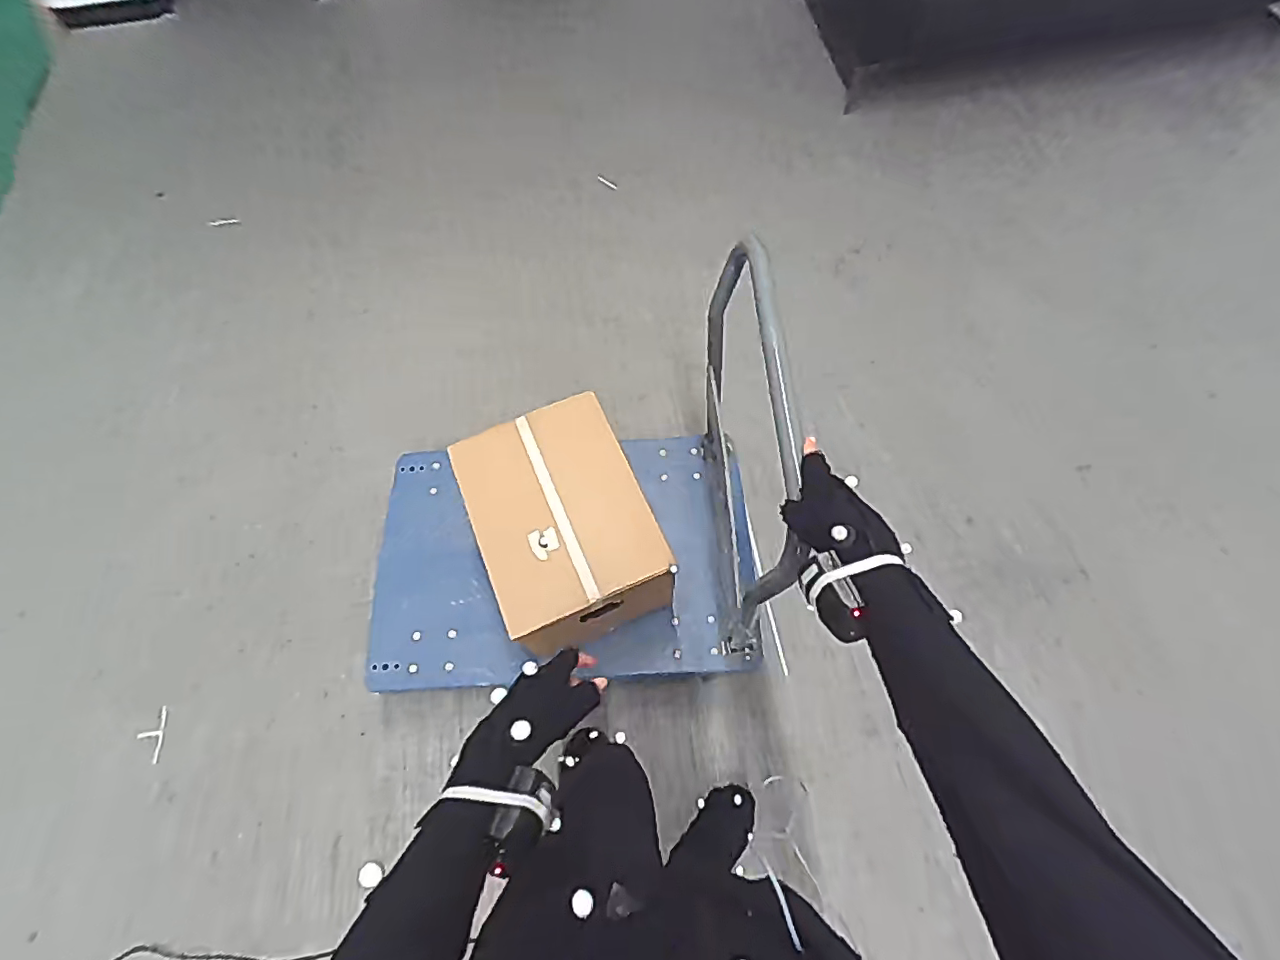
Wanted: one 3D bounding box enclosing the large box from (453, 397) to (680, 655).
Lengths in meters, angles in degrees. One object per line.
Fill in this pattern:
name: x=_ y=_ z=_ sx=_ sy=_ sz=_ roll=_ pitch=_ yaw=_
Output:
large box: x=-0.147 y=0.107 z=1.153 sx=0.320 sy=0.320 sz=0.408 roll=-24 pitch=68 yaw=-8
